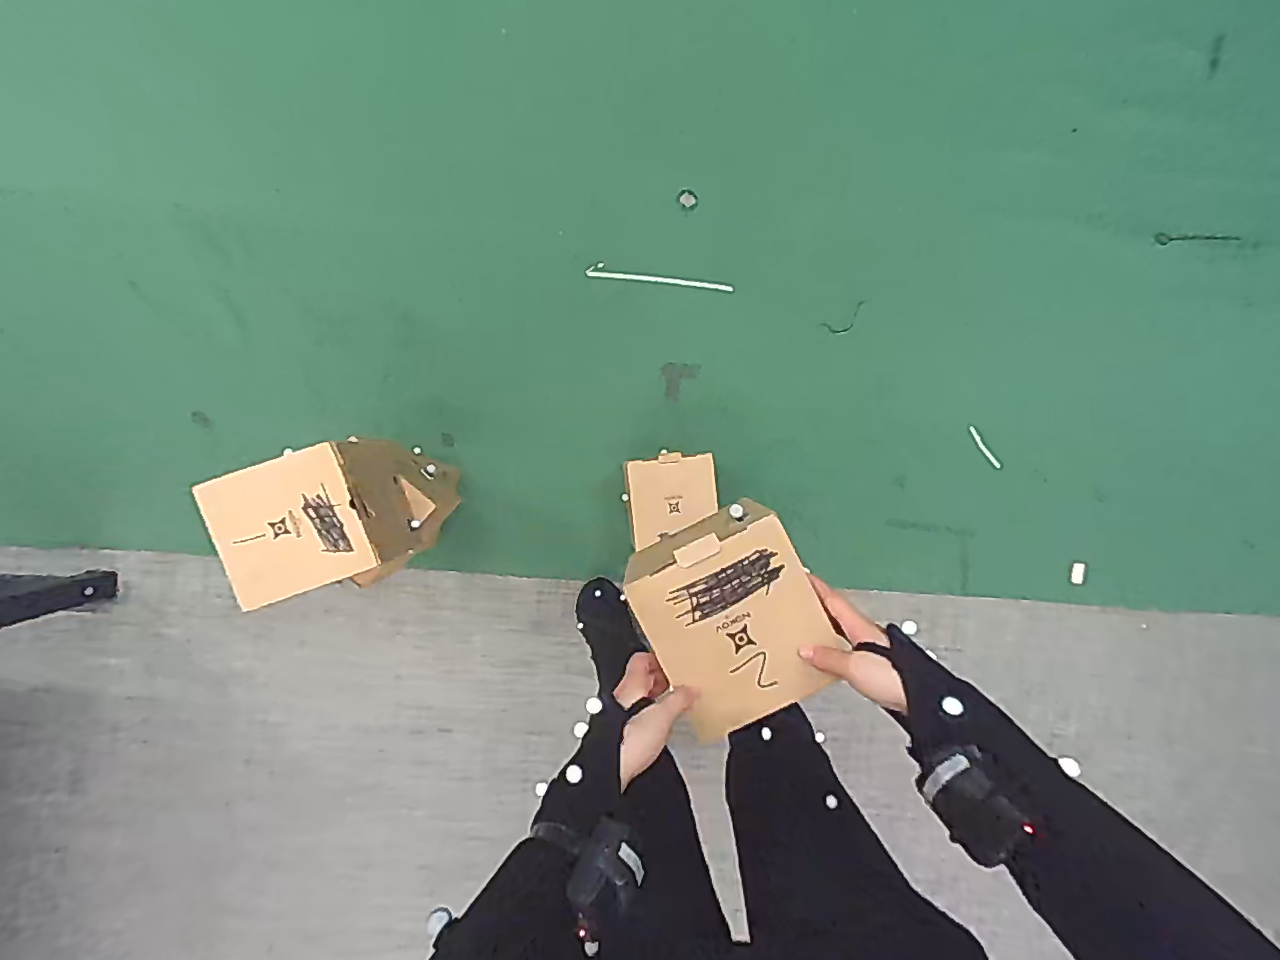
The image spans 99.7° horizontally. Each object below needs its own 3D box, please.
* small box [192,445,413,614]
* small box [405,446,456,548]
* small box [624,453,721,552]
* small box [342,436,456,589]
[{"bbox_3d":[-0.428,0.053,0.726,0.179,0.176,0.168,-19,95,-3],"label":"small box"},{"bbox_3d":[-0.476,0.030,1.049,0.168,0.176,0.179,21,91,-6],"label":"small box"},{"bbox_3d":[0.059,0.042,1.090,0.168,0.176,0.179,-5,92,-5],"label":"small box"},{"bbox_3d":[-0.432,0.046,0.890,0.168,0.176,0.179,41,88,-6],"label":"small box"}]
